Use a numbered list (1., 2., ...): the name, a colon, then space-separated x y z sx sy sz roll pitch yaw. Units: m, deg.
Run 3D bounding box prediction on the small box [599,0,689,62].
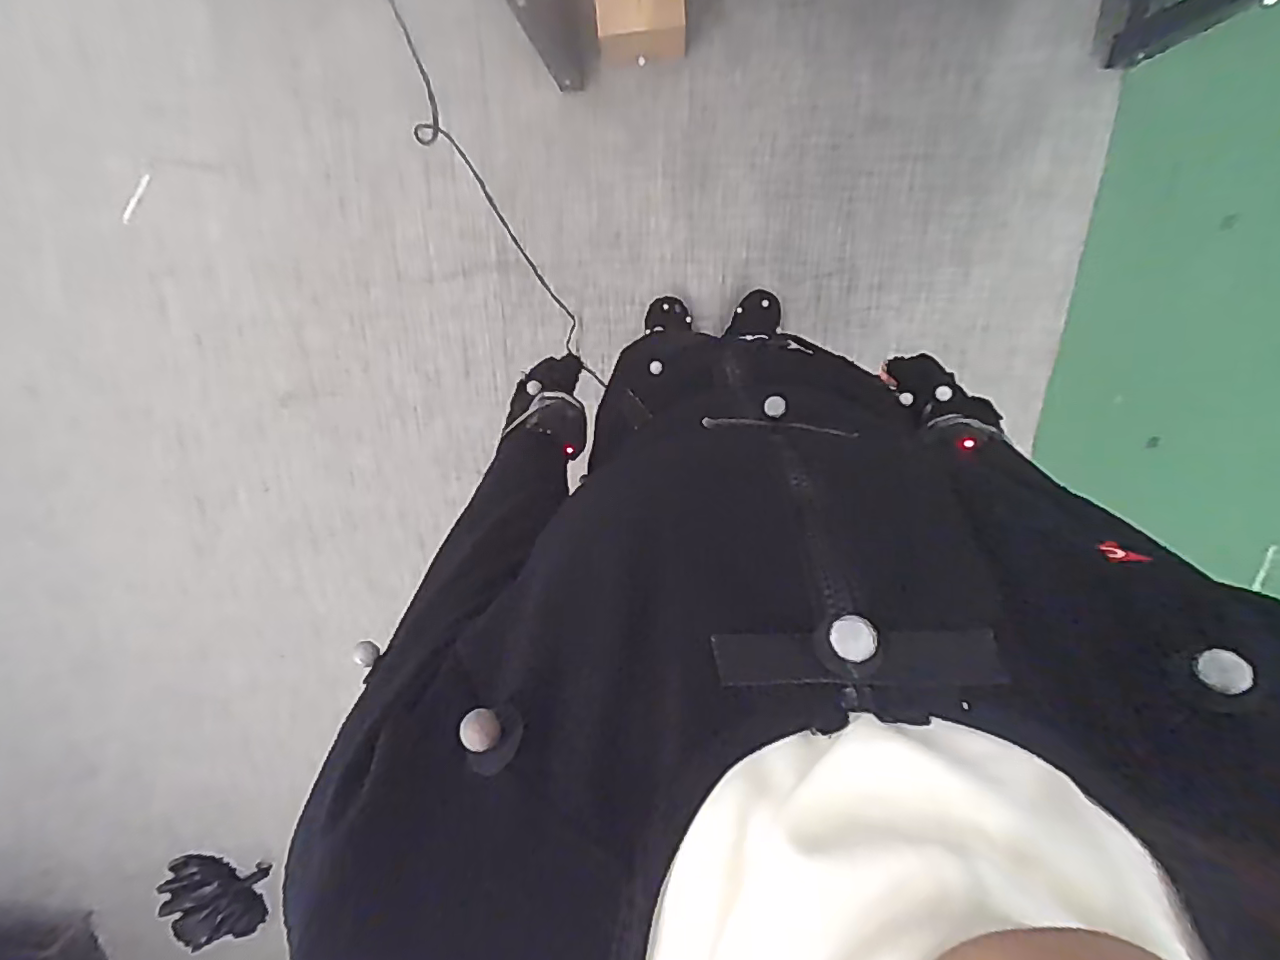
1. small box: 0.007 -0.950 1.046 0.168 0.176 0.179 -3 110 5
